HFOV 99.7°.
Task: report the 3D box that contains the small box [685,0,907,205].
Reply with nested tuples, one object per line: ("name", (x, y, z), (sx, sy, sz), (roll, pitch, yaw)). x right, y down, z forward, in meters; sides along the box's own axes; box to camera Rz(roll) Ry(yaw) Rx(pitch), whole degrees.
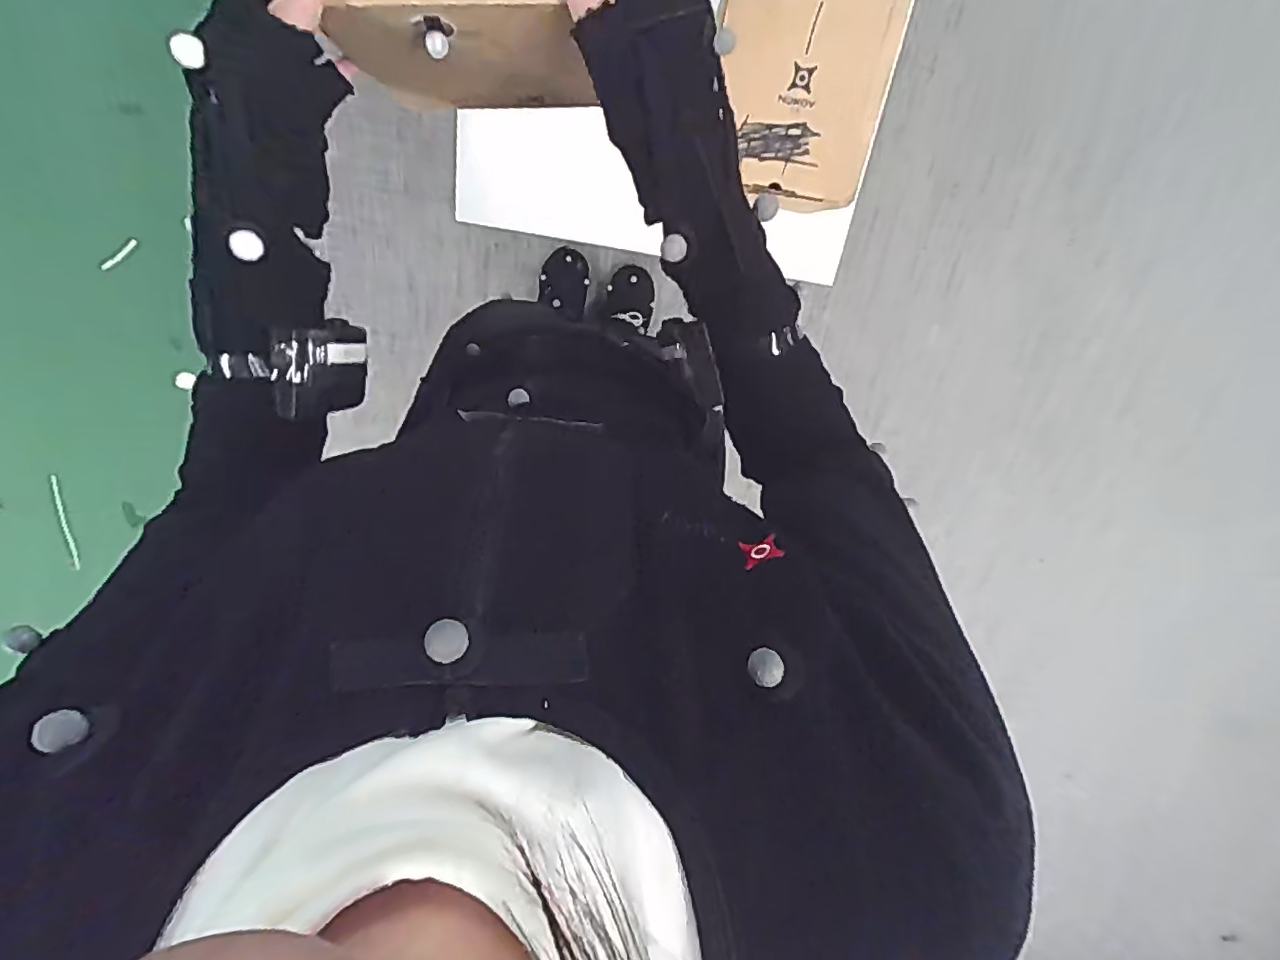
("small box", (0.146, -0.408, 0.582), (0.168, 0.176, 0.179), (10, 113, -4))

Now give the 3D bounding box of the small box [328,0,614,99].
("small box", (-0.101, -0.352, 0.313), (0.168, 0.176, 0.179), (-3, 109, -2))
